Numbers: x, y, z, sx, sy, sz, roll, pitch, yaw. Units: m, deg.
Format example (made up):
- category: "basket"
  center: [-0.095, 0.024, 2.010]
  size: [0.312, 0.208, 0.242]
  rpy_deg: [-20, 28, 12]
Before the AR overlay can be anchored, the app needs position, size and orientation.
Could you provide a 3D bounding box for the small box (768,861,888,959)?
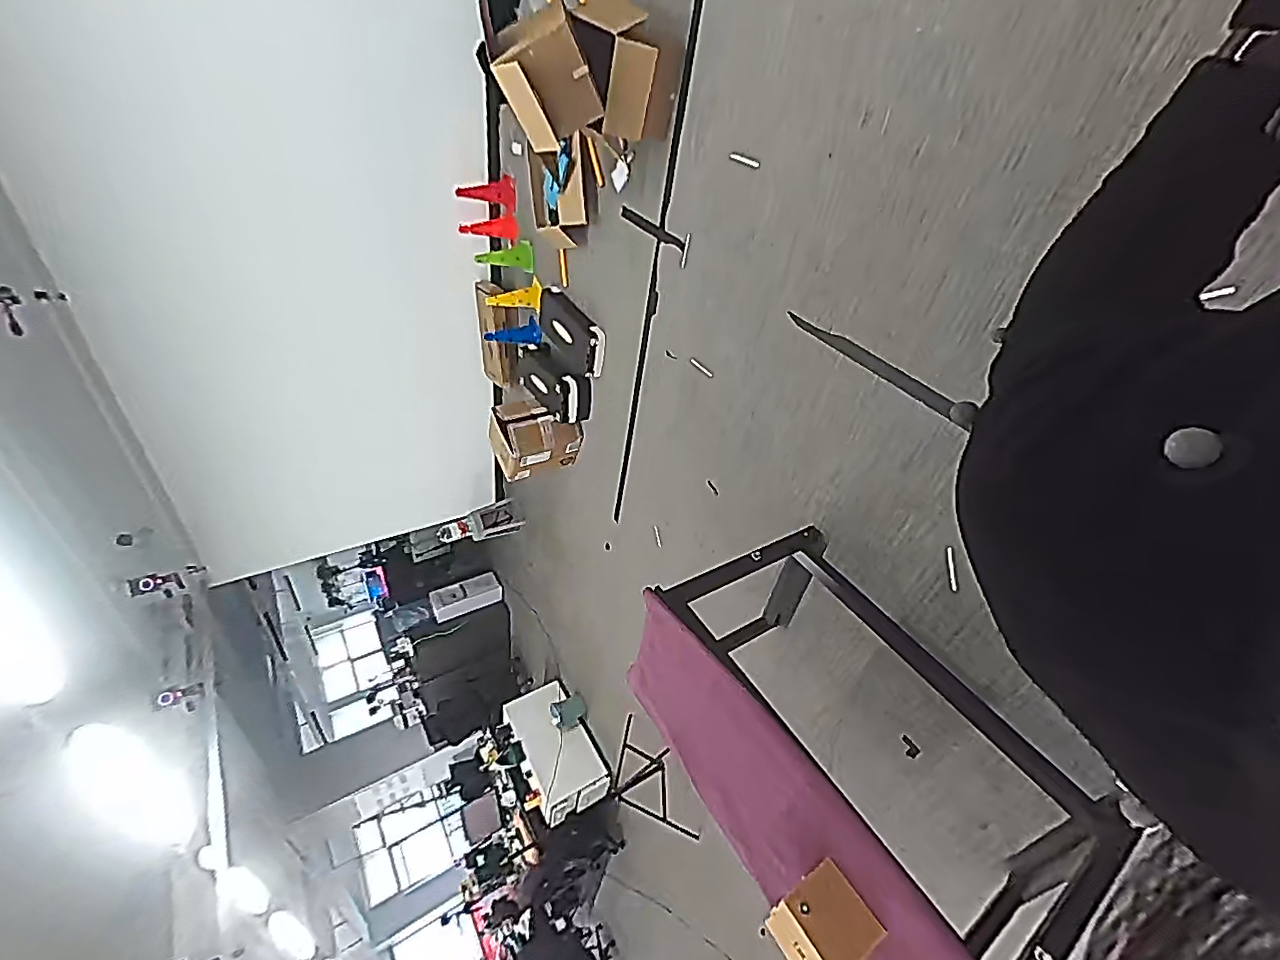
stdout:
- category: "small box"
  center: [0.434, 1.040, 1.251]
  size: [0.179, 0.176, 0.168]
  rpy_deg: [46, 140, 40]
